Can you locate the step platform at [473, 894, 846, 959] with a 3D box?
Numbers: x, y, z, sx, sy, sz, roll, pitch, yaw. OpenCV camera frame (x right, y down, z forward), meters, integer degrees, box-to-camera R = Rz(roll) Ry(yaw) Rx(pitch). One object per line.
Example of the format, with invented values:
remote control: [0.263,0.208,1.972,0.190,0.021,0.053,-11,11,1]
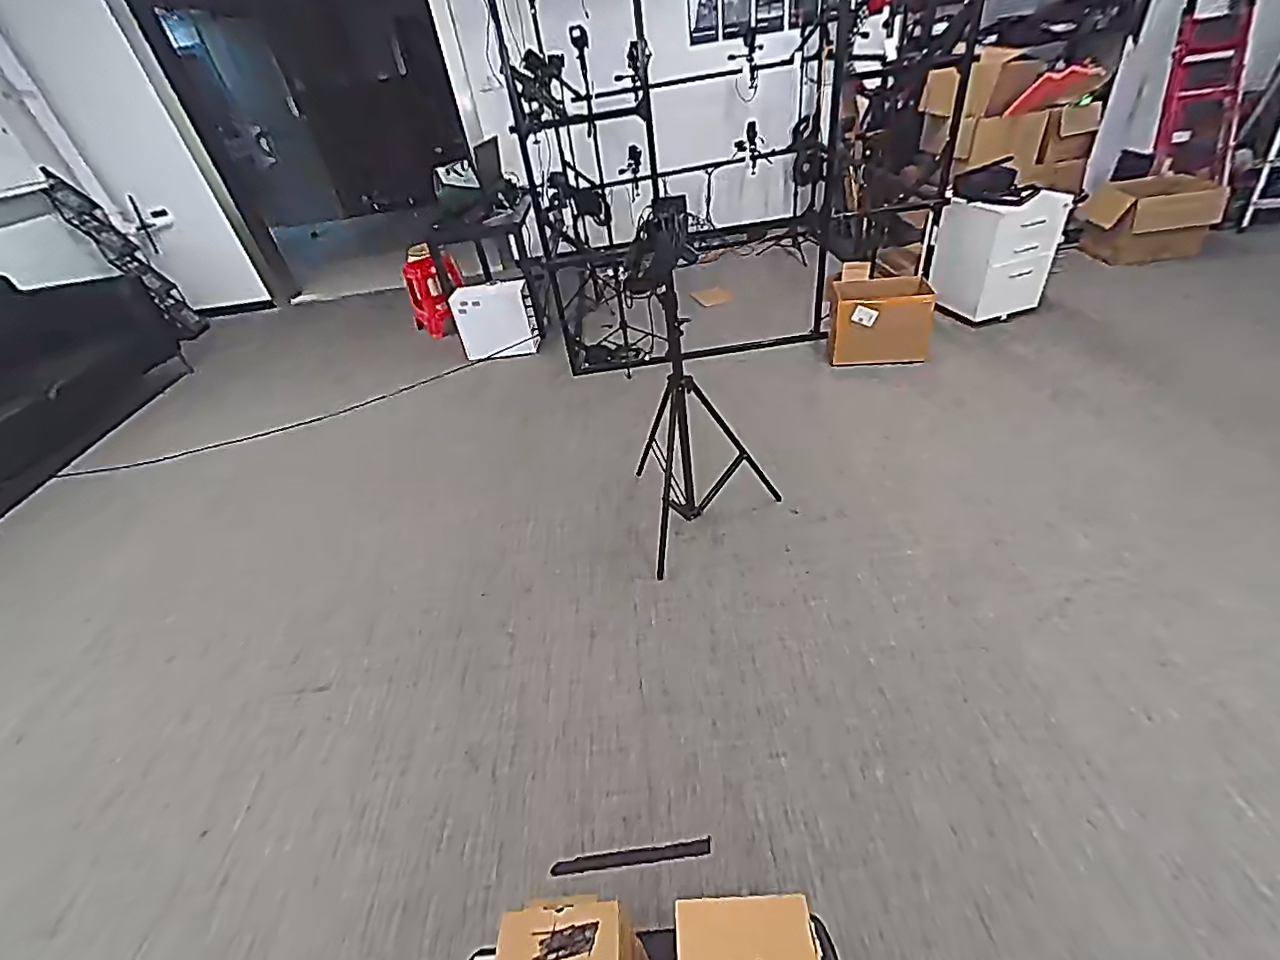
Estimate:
step platform: [0.034,0.939,0.931,0.684,0.204,0.286,-9,37,2]

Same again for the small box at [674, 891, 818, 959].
small box: [0.142,0.667,0.706,0.179,0.176,0.168,-6,38,3]

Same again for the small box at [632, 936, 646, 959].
small box: [-0.070,0.826,0.814,0.168,0.176,0.179,-7,37,3]

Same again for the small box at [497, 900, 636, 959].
small box: [-0.094,0.695,0.717,0.168,0.176,0.179,-8,38,2]
